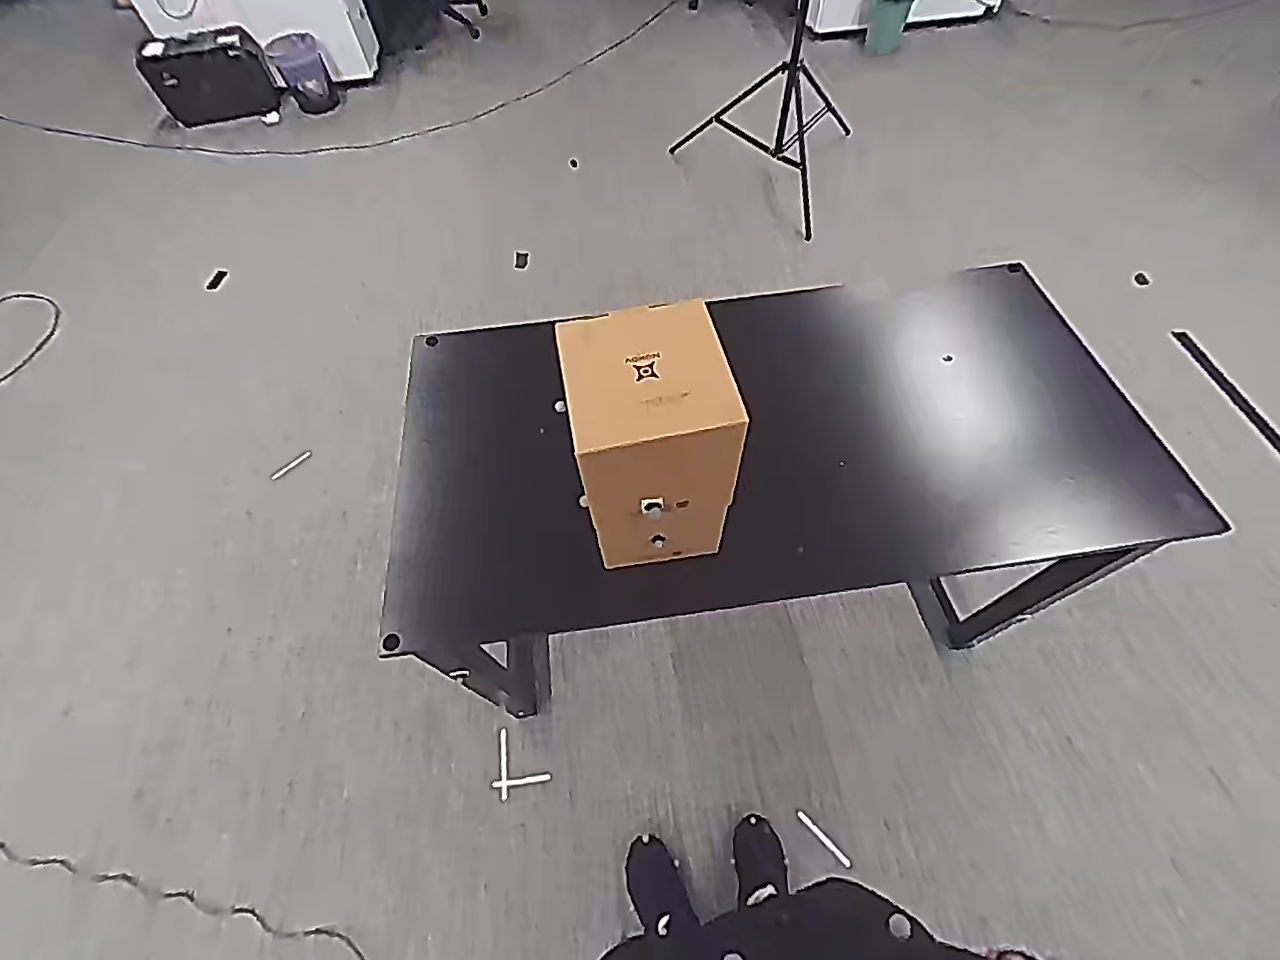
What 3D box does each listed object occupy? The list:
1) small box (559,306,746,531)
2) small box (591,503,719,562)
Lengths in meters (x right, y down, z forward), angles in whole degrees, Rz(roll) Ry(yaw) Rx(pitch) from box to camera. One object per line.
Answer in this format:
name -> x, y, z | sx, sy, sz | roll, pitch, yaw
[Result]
small box -> 0.009, -0.065, 0.618 | 0.168, 0.176, 0.179 | -12, 60, -3
small box -> 0.016, 0.006, 0.765 | 0.168, 0.176, 0.179 | -8, 58, -3
